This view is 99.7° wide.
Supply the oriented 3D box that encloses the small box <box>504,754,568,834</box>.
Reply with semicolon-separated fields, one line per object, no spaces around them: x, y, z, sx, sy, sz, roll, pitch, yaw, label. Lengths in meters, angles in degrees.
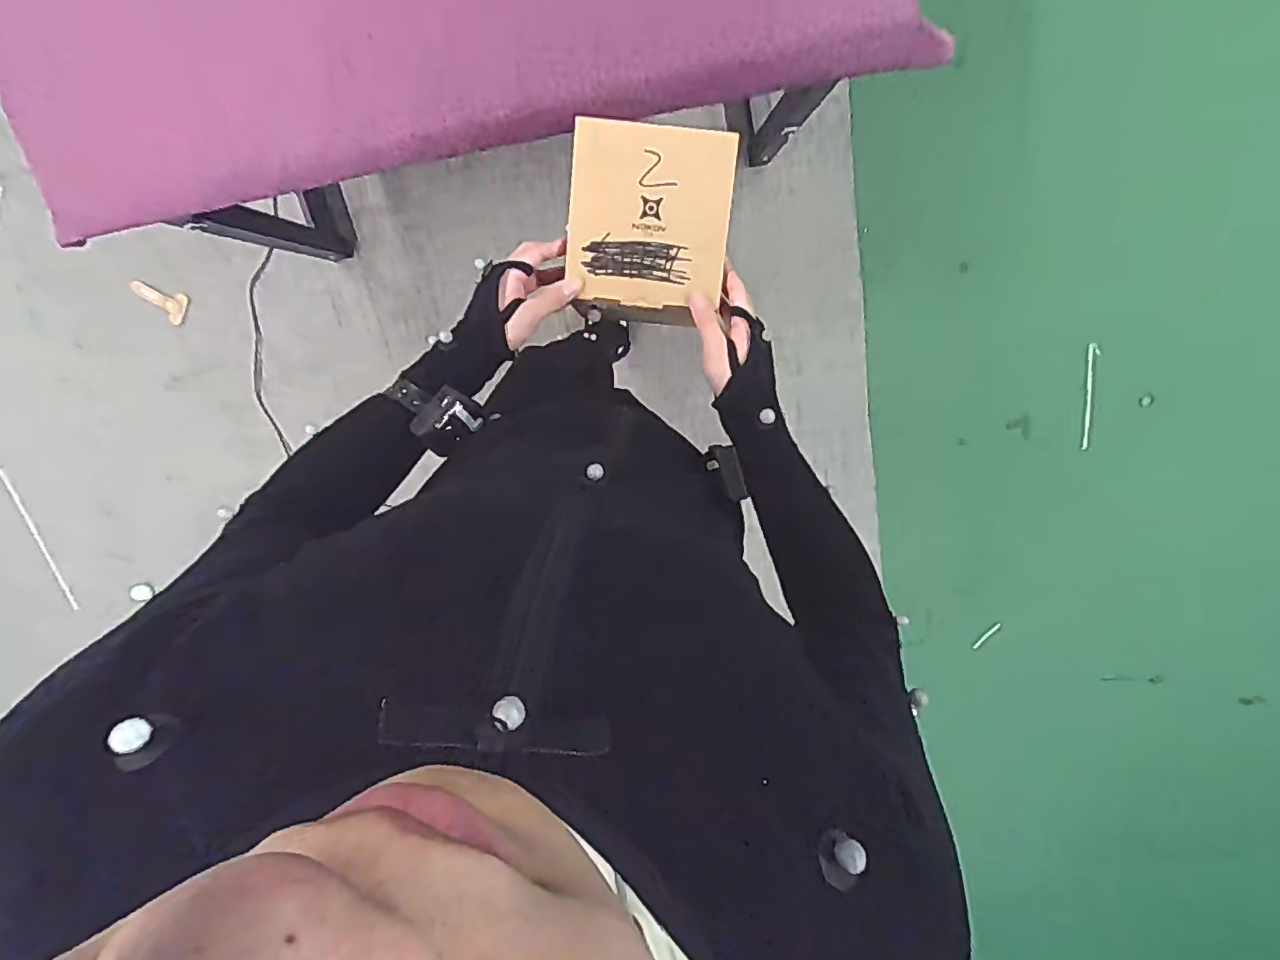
-0.347;1.066;1.846;0.179;0.176;0.168;-8;106;2;small box
